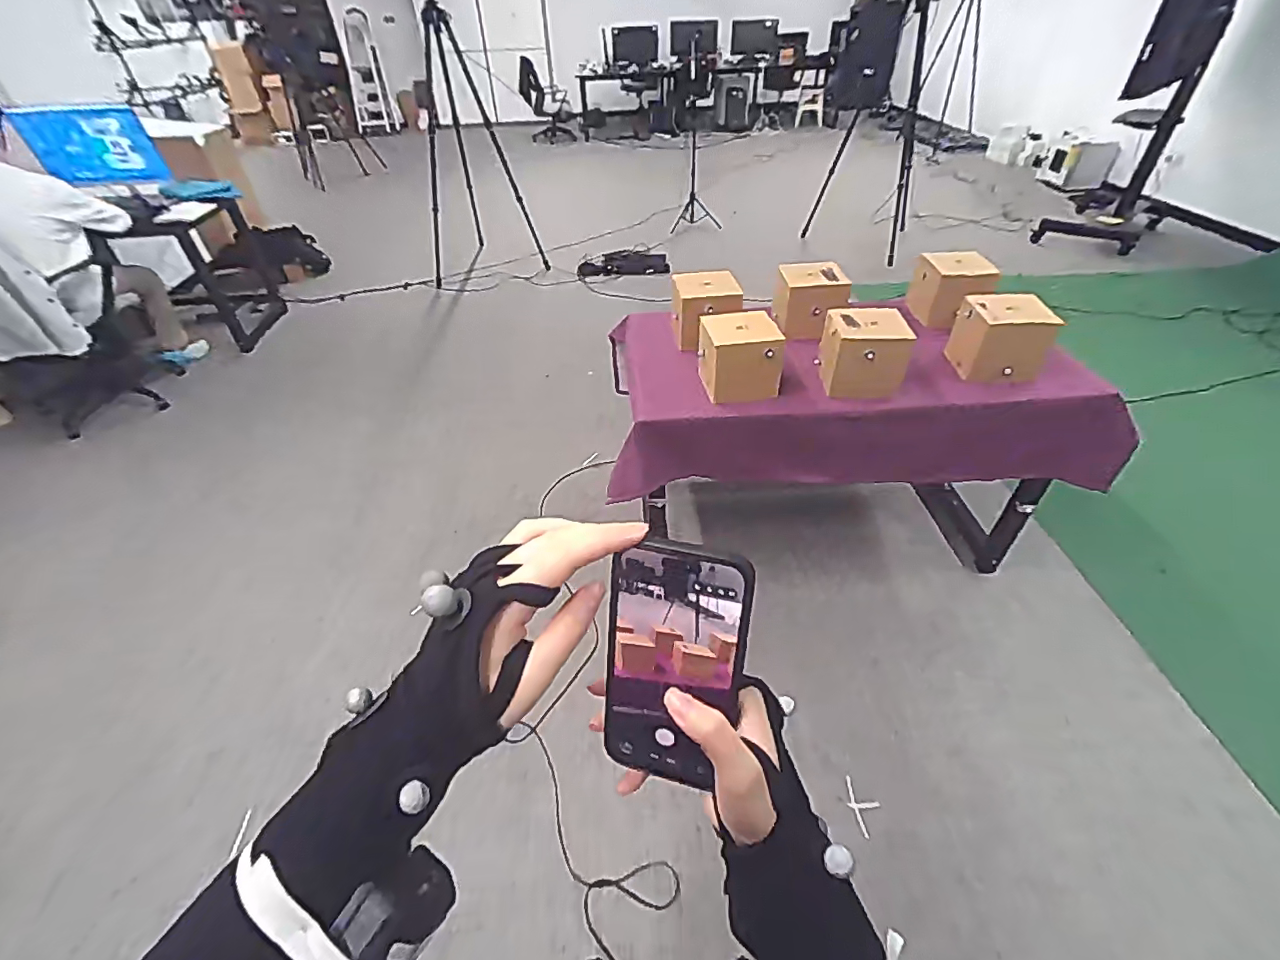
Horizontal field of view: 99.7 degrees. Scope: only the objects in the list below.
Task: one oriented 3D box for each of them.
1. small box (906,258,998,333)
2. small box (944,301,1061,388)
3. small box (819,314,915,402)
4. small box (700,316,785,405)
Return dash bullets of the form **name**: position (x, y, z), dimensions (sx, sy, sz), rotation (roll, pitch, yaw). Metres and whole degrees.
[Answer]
- **small box**: position (0.939, -0.563, 1.648), dimensions (0.168, 0.176, 0.179), rotation (-1, 42, 2)
- **small box**: position (0.936, -0.353, 1.415), dimensions (0.179, 0.176, 0.168), rotation (2, 41, 4)
- **small box**: position (0.568, -0.312, 1.385), dimensions (0.179, 0.176, 0.168), rotation (2, 42, 3)
- **small box**: position (0.255, -0.305, 1.392), dimensions (0.179, 0.176, 0.168), rotation (-6, 41, -6)
